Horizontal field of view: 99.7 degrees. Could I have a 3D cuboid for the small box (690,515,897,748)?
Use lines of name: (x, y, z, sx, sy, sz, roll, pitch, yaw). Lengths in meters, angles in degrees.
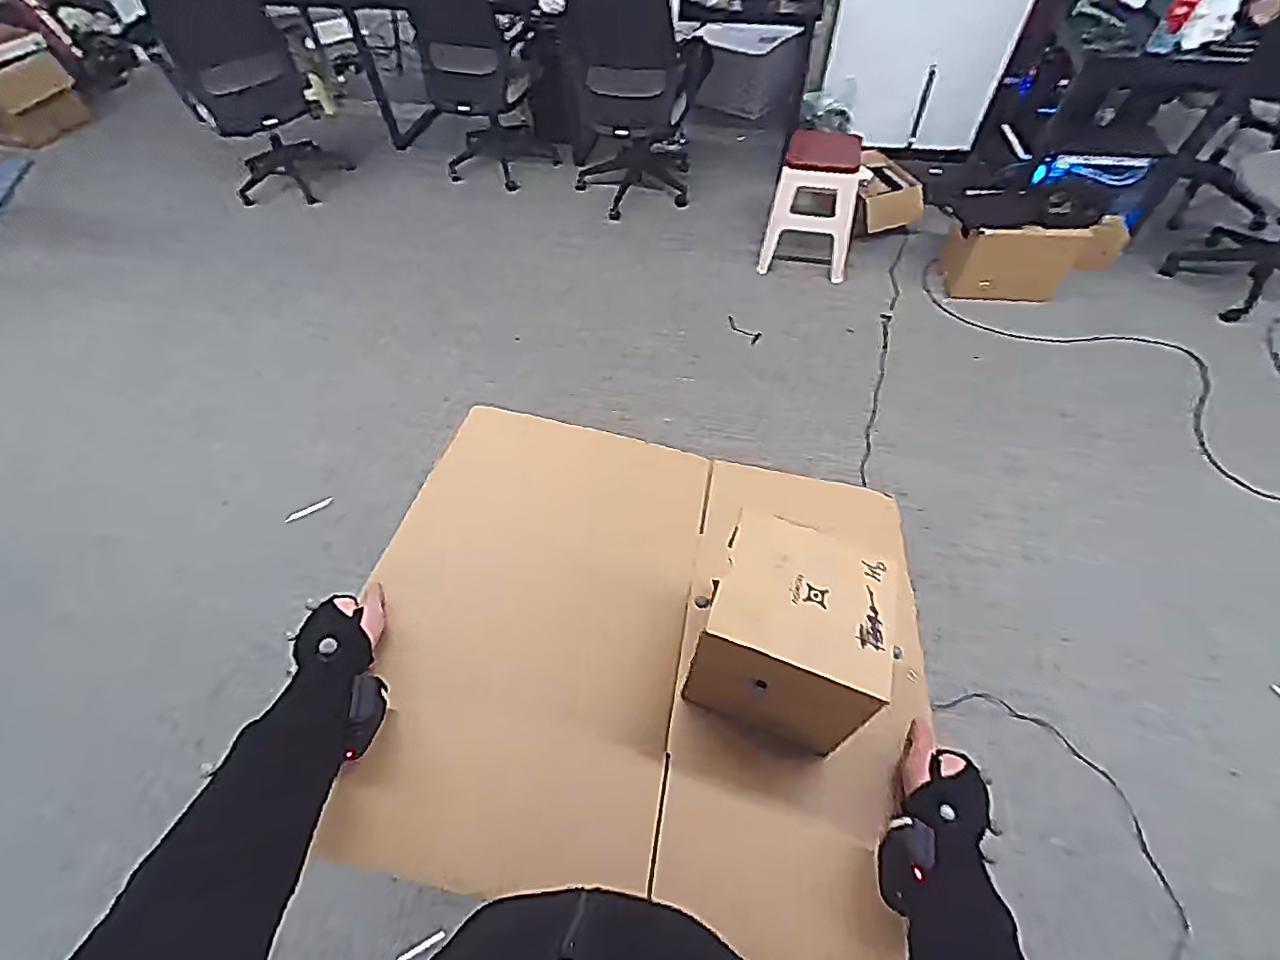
small box: (0.165, 0.173, 0.610, 0.179, 0.176, 0.168, 18, 49, 12)
